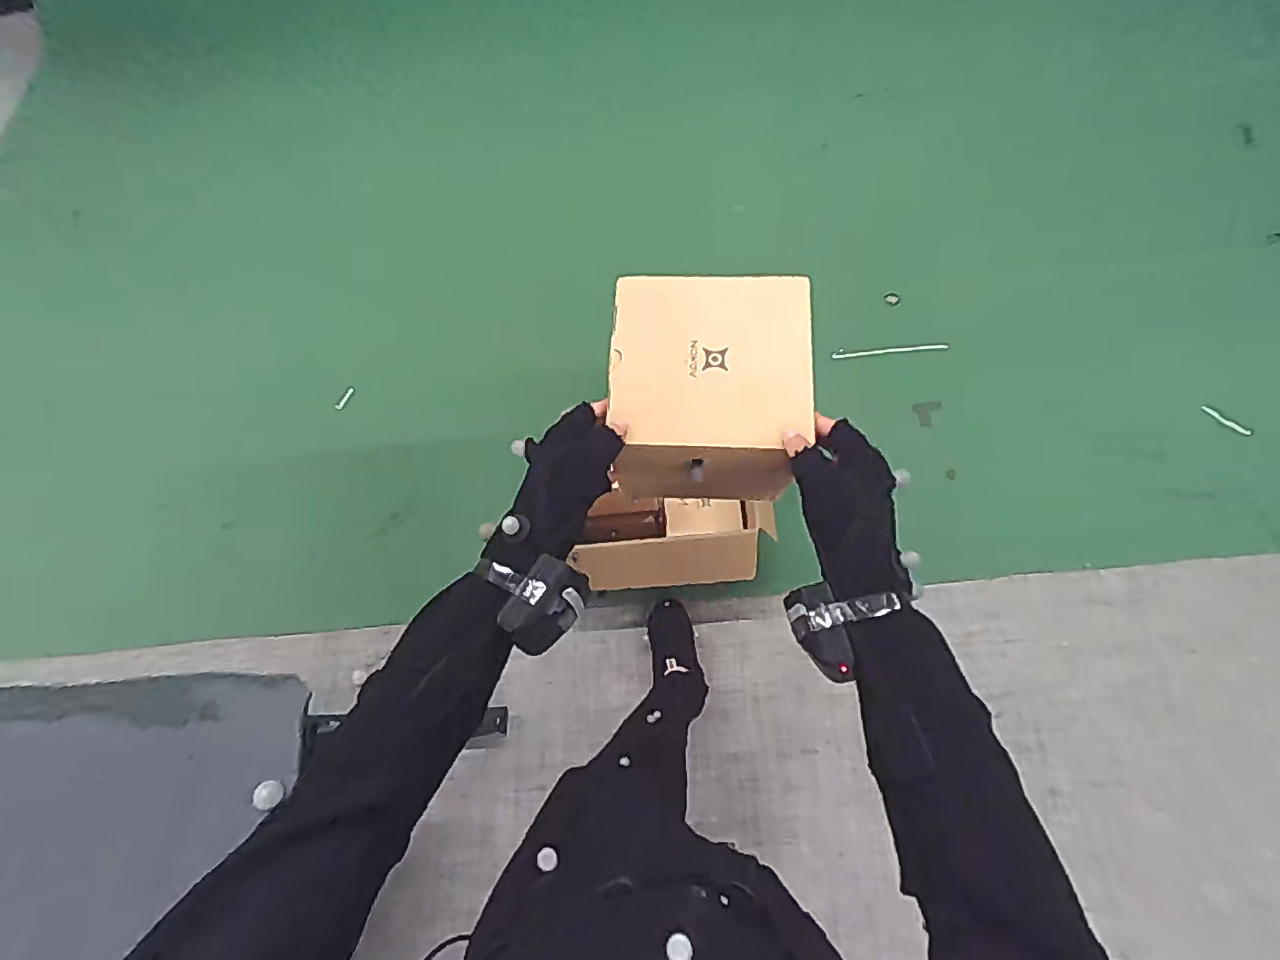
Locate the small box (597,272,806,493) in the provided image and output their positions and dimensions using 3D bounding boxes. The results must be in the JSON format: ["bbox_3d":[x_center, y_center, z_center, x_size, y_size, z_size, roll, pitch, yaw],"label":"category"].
[{"bbox_3d":[0.061,-0.087,0.548,0.179,0.176,0.168,2,74,6],"label":"small box"}]
